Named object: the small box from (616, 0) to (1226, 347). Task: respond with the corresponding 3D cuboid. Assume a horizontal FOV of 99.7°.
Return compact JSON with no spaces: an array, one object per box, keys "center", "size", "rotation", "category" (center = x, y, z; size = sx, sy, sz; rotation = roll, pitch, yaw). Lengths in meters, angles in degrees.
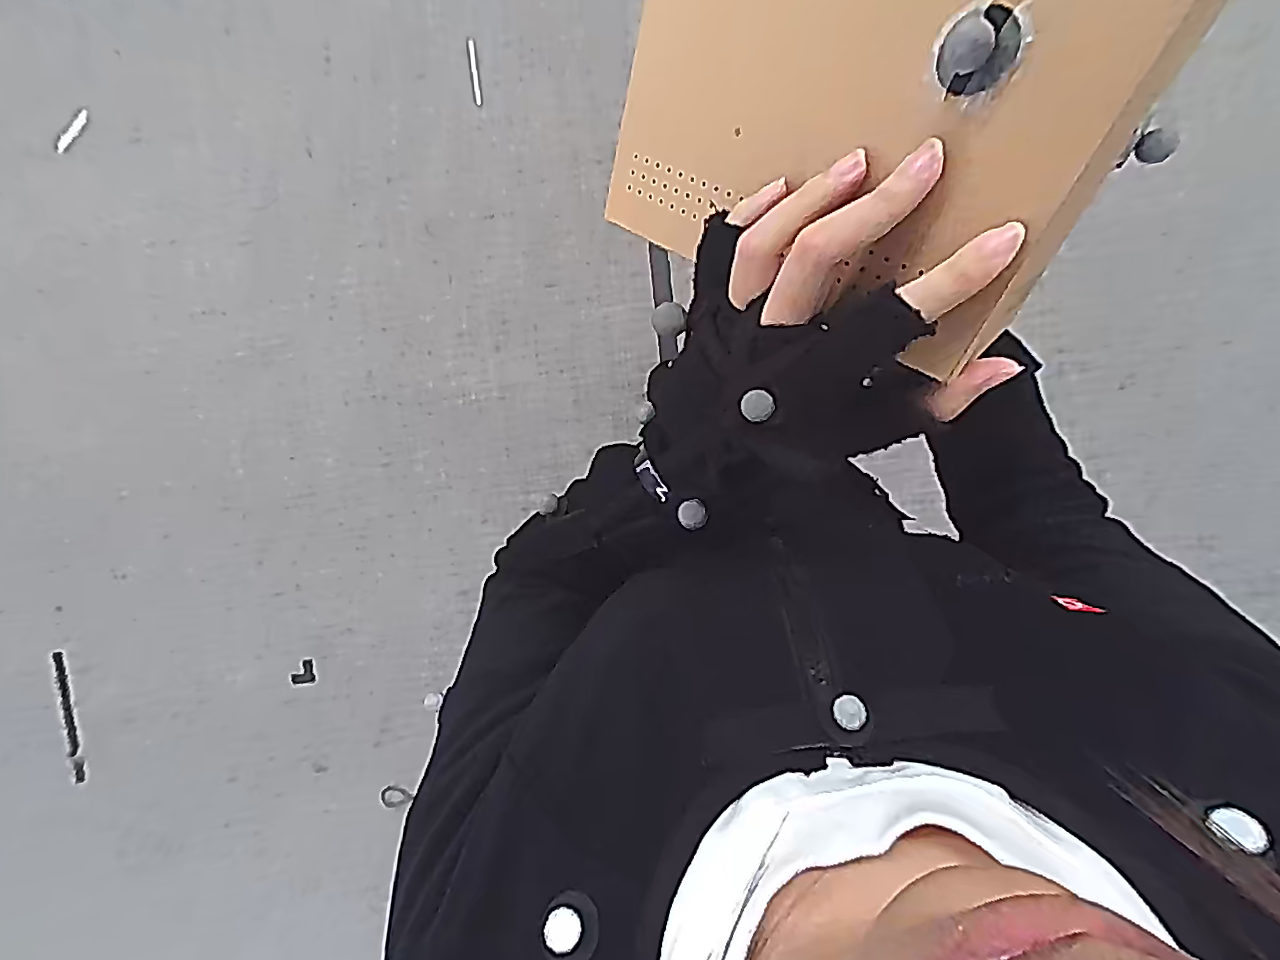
[{"center":[0.115,-0.171,0.244],"size":[0.179,0.168,0.176],"rotation":[36,129,24],"category":"small box"}]
